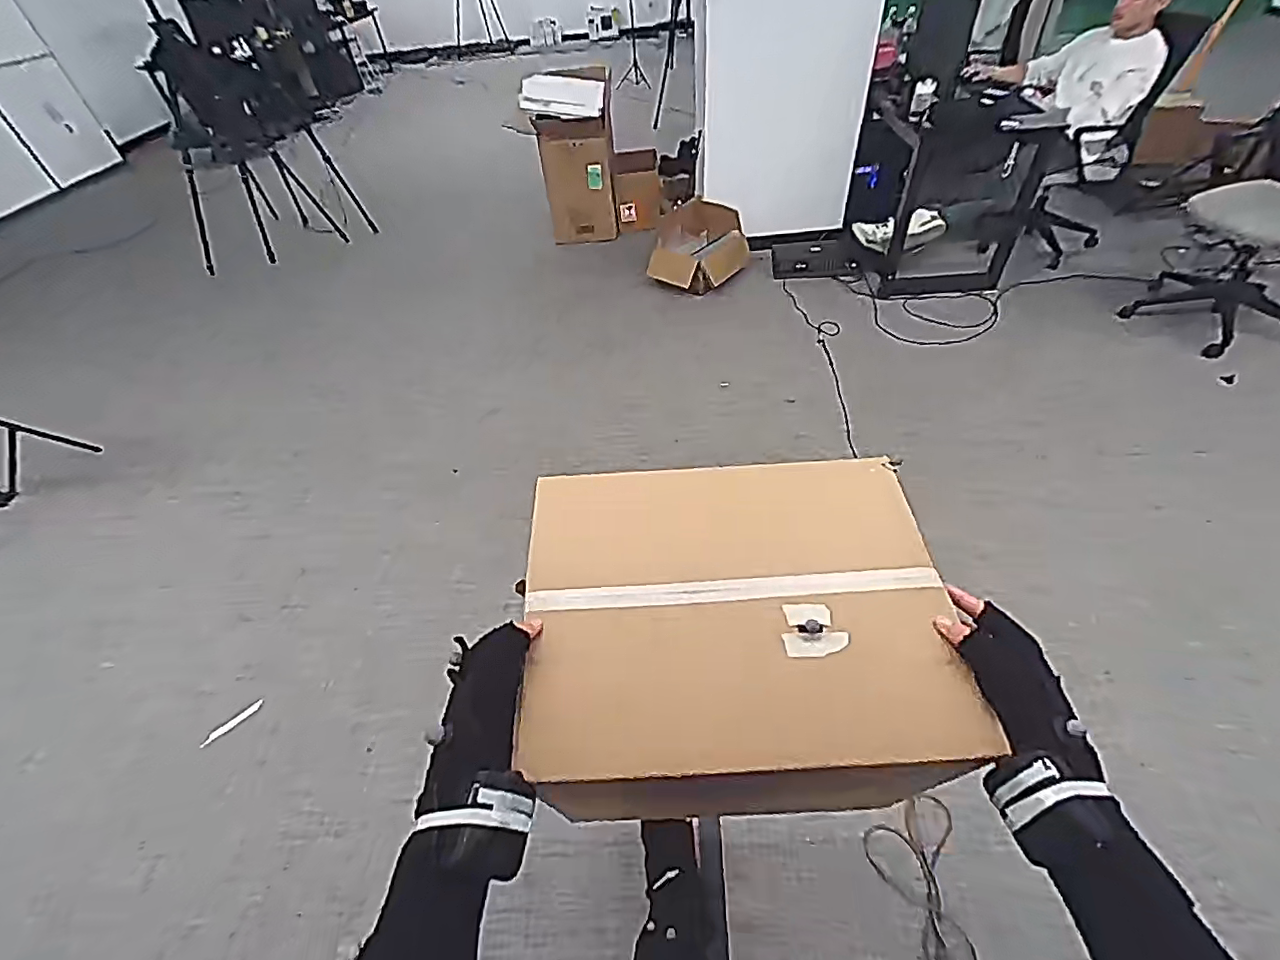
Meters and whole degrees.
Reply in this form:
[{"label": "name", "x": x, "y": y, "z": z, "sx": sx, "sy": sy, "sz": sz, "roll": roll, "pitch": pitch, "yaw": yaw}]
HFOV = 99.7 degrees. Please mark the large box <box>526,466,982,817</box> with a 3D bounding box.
[{"label": "large box", "x": 0.094, "y": 0.208, "z": 0.668, "sx": 0.408, "sy": 0.320, "sz": 0.320, "roll": -3, "pitch": 53, "yaw": 0}]
